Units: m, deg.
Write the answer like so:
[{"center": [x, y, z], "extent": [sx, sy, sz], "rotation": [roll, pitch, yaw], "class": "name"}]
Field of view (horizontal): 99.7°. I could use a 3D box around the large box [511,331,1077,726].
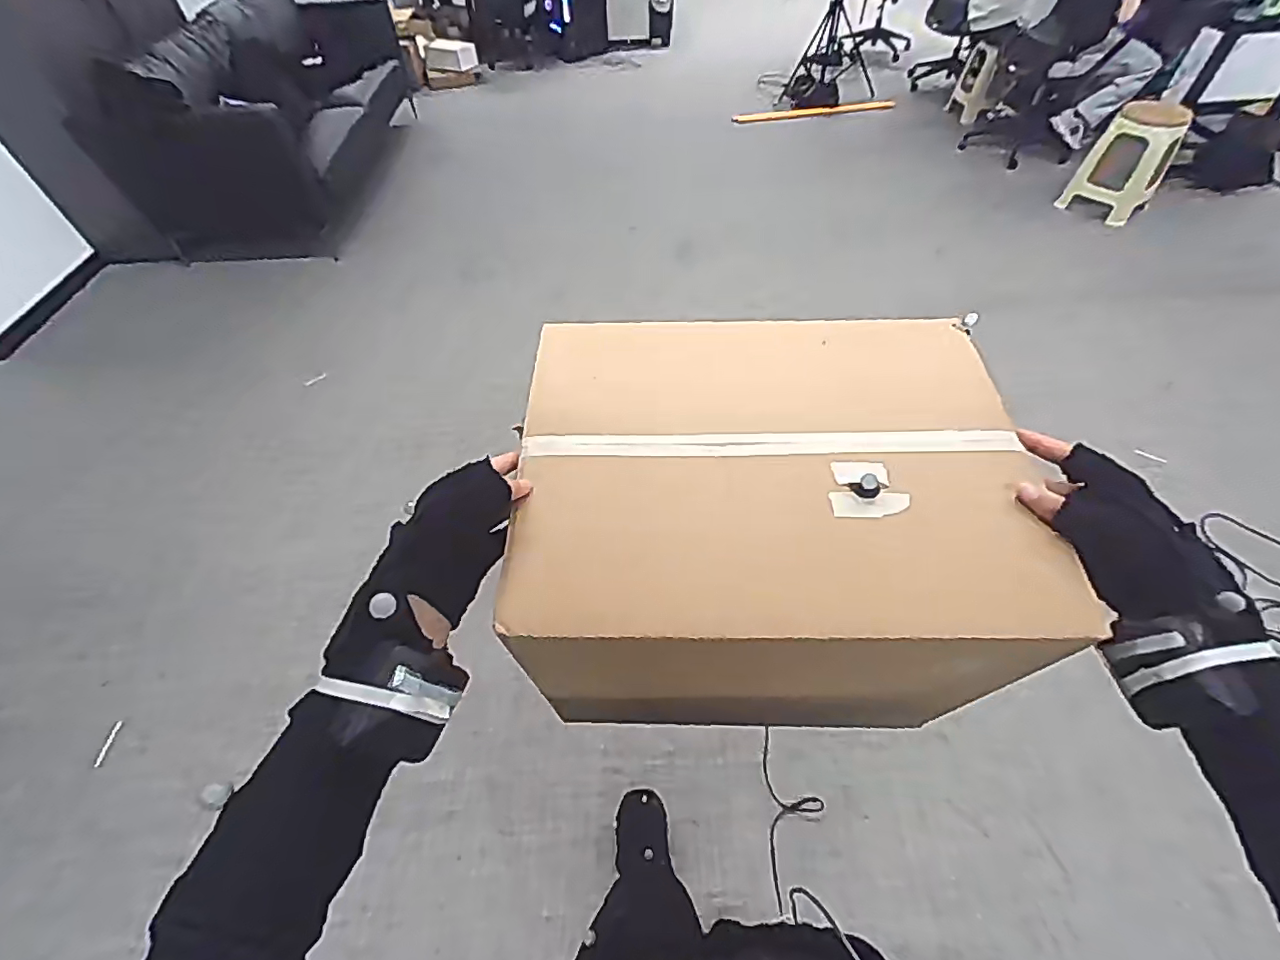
[{"center": [0.107, 0.066, 0.580], "extent": [0.408, 0.320, 0.320], "rotation": [-1, 56, 2], "class": "large box"}]
